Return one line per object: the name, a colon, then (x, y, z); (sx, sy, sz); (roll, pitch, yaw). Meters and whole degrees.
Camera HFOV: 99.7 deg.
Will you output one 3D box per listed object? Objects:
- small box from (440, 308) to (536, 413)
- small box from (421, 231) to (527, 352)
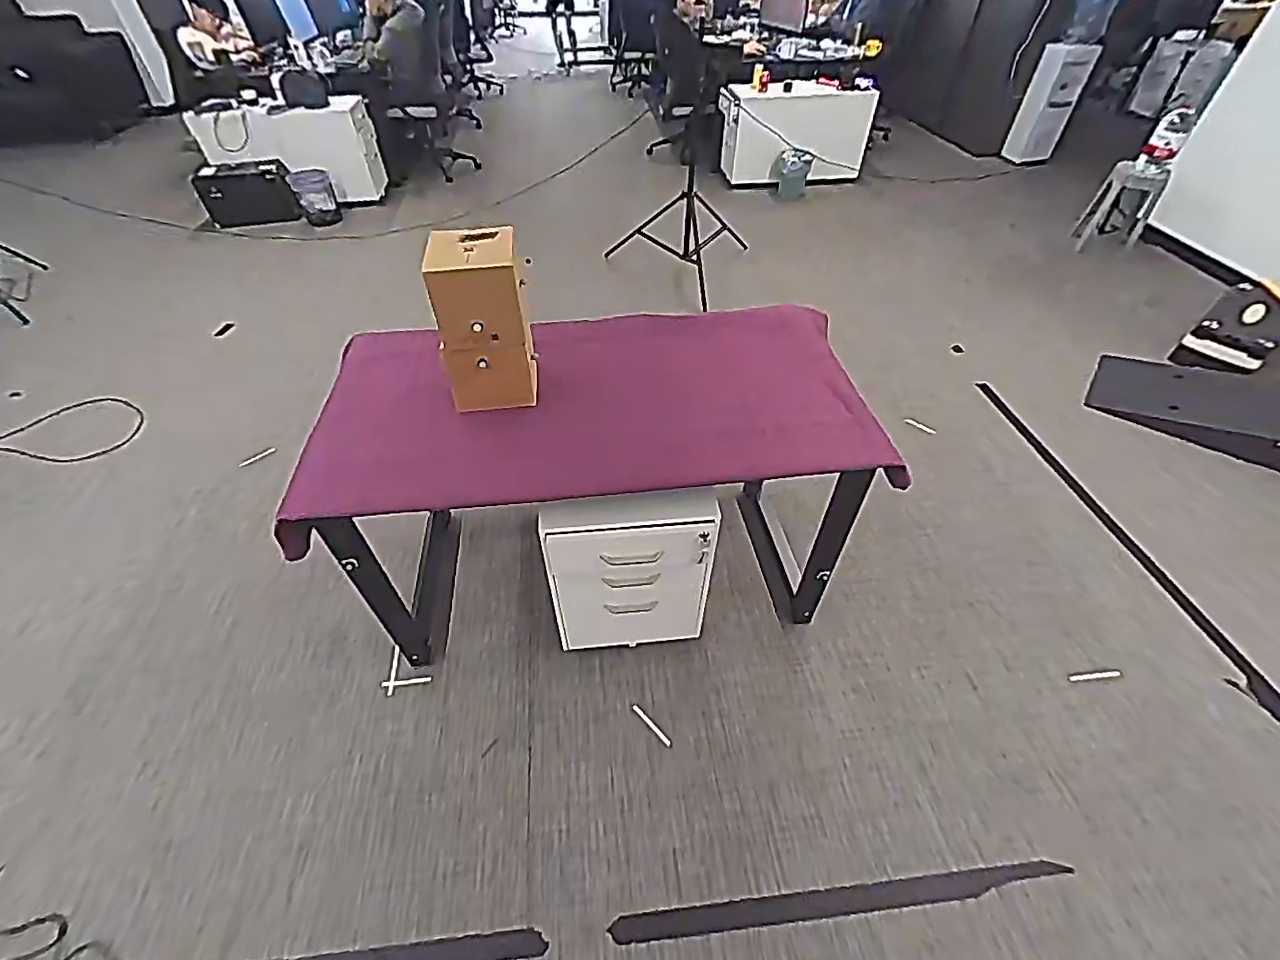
small box: (-0.330, -0.269, 1.213); (0.179, 0.176, 0.168); (-6, 47, -5)
small box: (-0.325, -0.381, 1.093); (0.168, 0.176, 0.179); (-7, 48, -5)
